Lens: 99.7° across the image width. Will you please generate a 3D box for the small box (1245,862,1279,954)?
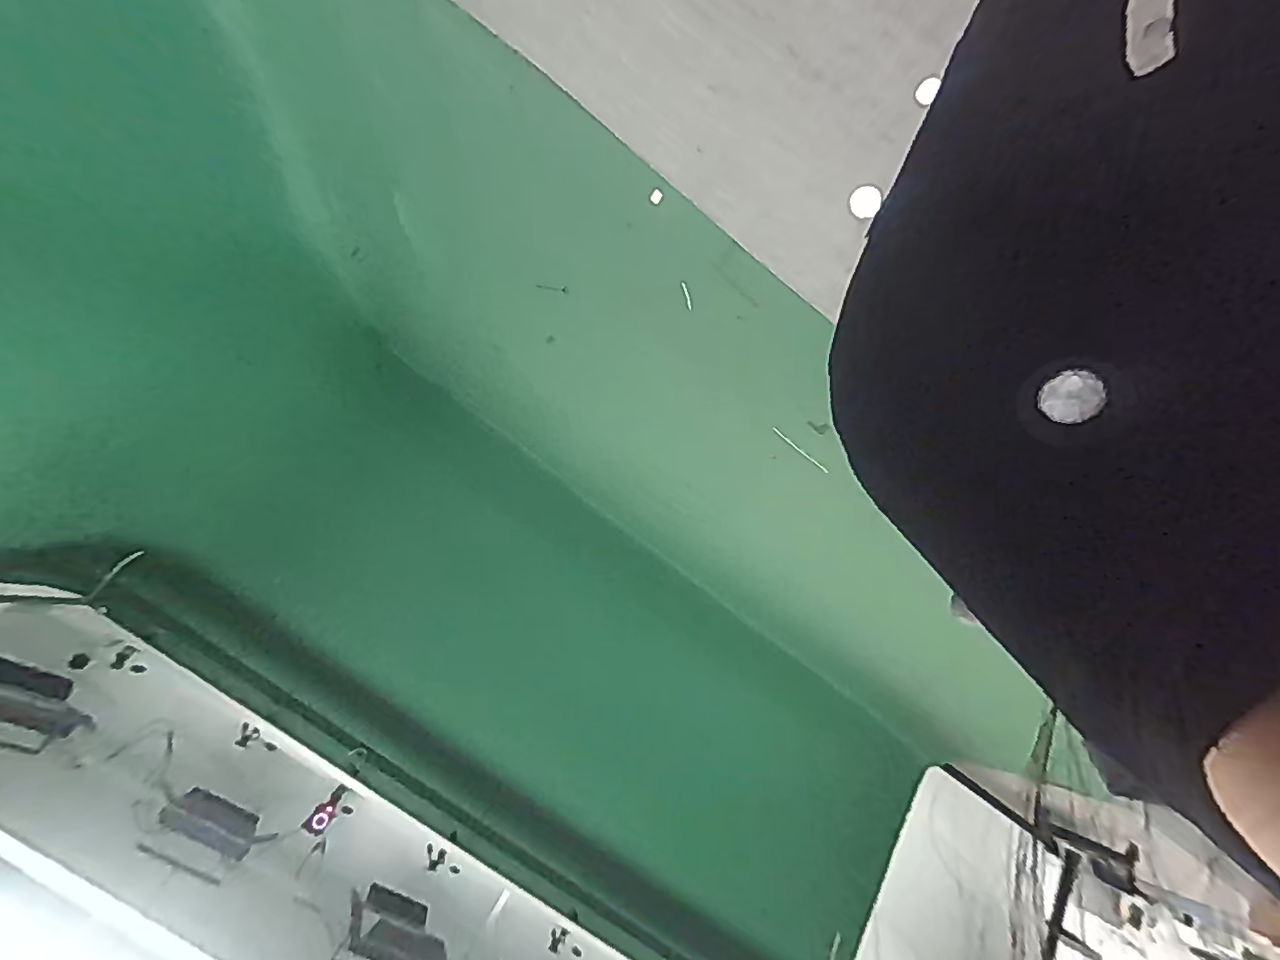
[{"bbox_3d":[1.533,1.004,1.207,0.179,0.176,0.168,32,160,4],"label":"small box"}]
